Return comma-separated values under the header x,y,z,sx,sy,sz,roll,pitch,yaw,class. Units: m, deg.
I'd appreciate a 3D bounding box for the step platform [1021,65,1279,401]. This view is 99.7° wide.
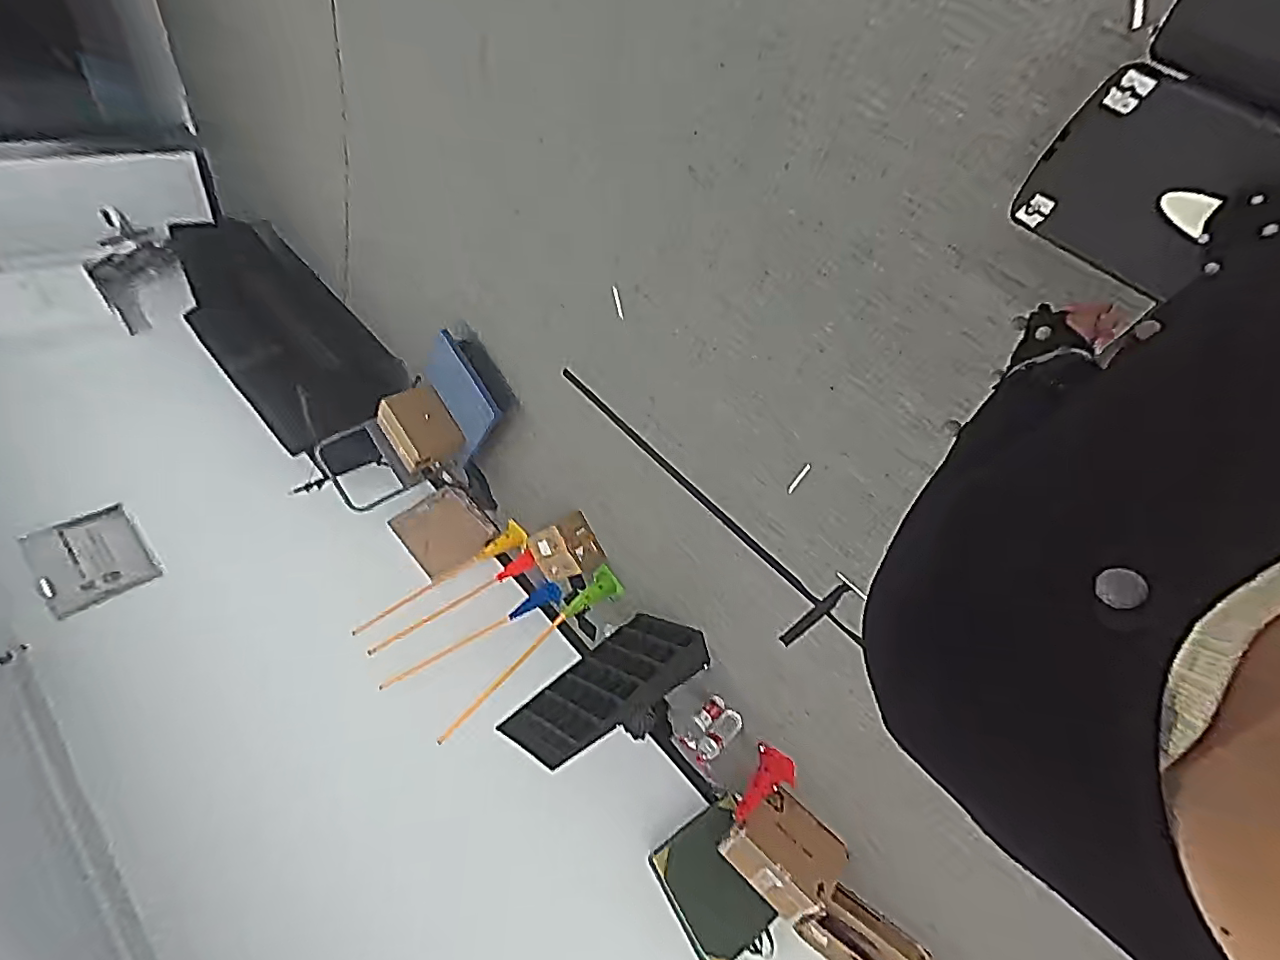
x,y,z,sx,sy,sz,roll,pitch,yaw,class
1.061,-0.419,0.956,0.684,0.204,0.286,49,140,17,step platform
